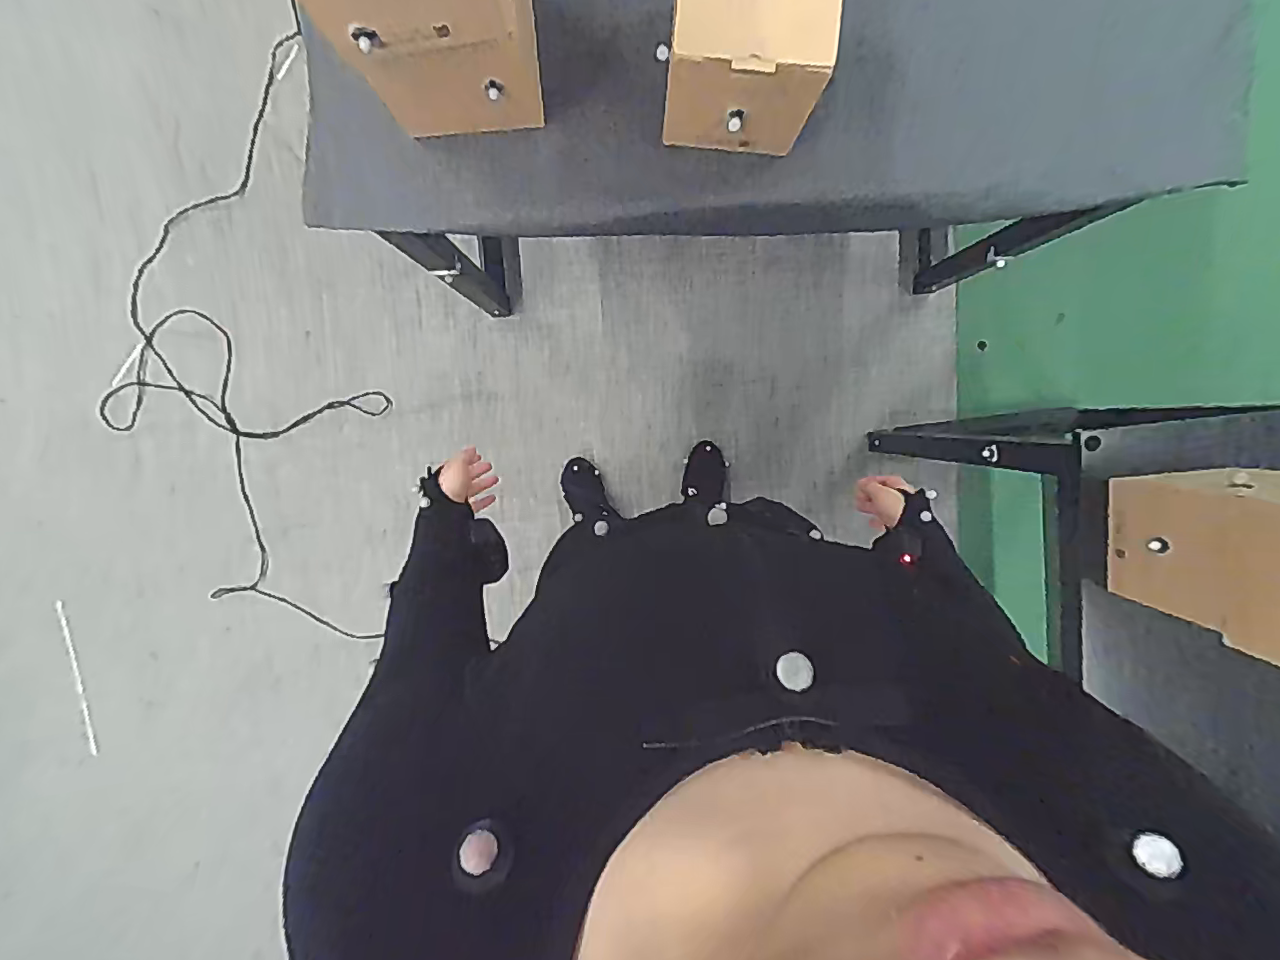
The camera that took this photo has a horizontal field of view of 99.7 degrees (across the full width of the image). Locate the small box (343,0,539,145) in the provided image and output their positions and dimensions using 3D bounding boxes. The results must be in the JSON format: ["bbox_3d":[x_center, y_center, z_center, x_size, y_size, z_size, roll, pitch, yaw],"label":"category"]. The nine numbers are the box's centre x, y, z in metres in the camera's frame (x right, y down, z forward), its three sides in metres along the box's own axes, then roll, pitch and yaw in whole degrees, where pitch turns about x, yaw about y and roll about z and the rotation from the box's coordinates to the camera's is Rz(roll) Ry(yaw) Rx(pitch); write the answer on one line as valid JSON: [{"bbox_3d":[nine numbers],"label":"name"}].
[{"bbox_3d":[-0.217,-0.514,0.614,0.179,0.176,0.168,-6,94,2],"label":"small box"}]

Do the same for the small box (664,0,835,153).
[{"bbox_3d":[0.115,-0.502,0.613,0.168,0.176,0.179,5,95,0],"label":"small box"}]

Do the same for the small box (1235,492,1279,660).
[{"bbox_3d":[0.733,0.106,0.512,0.168,0.176,0.179,-5,96,1],"label":"small box"}]

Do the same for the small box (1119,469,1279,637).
[{"bbox_3d":[0.749,0.081,0.673,0.179,0.176,0.168,-5,97,0],"label":"small box"}]
